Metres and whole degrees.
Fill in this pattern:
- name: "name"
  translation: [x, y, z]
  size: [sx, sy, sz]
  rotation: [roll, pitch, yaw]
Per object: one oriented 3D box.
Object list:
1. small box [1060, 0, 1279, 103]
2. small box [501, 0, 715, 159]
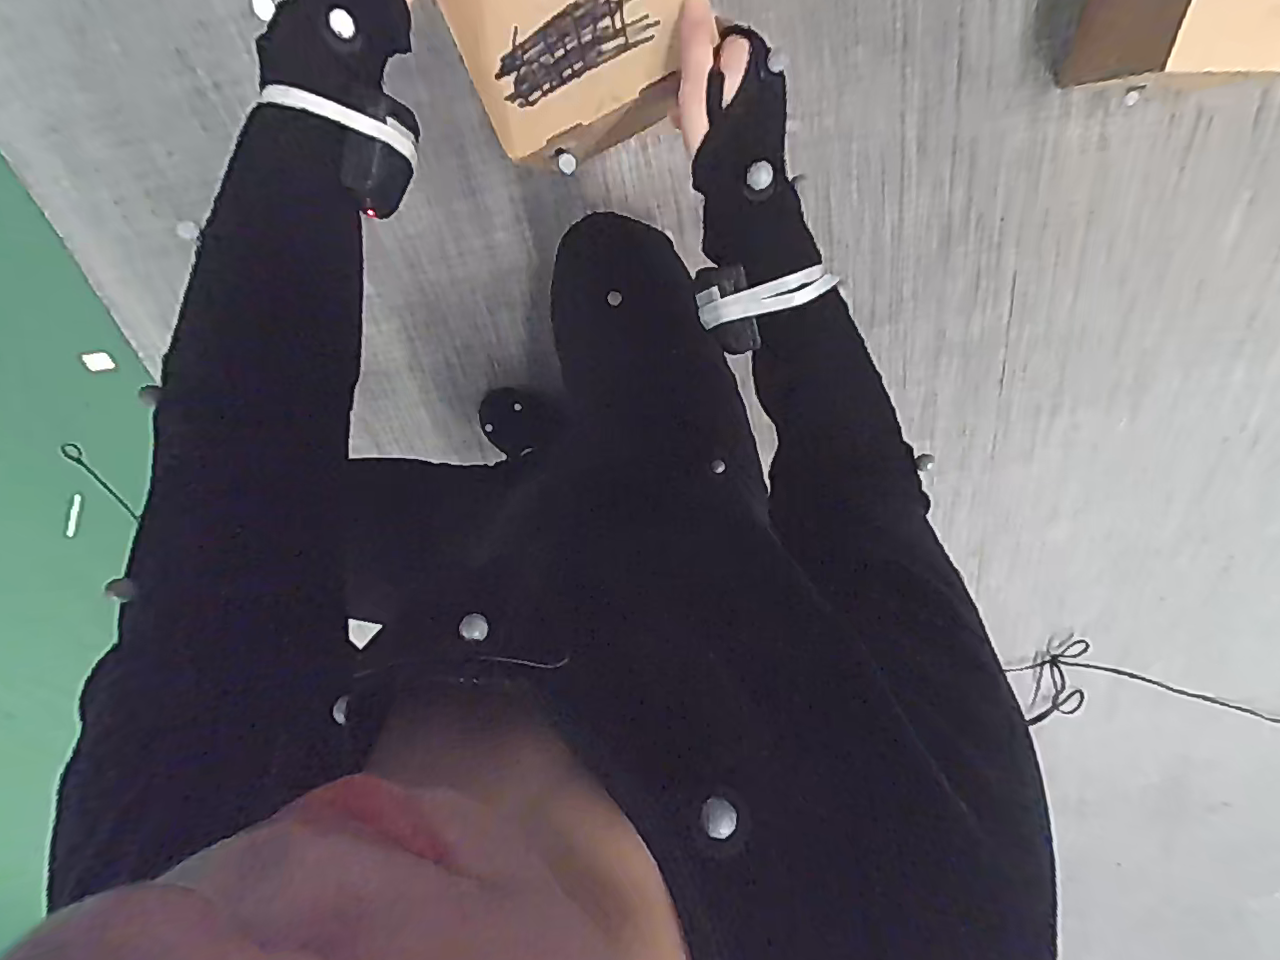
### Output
- name: "small box"
  translation: [0.572, -0.492, 0.535]
  size: [0.168, 0.176, 0.179]
  rotation: [2, 120, 2]
- name: "small box"
  translation: [-0.025, -0.464, 0.584]
  size: [0.179, 0.176, 0.168]
  rotation: [-15, 118, 12]
